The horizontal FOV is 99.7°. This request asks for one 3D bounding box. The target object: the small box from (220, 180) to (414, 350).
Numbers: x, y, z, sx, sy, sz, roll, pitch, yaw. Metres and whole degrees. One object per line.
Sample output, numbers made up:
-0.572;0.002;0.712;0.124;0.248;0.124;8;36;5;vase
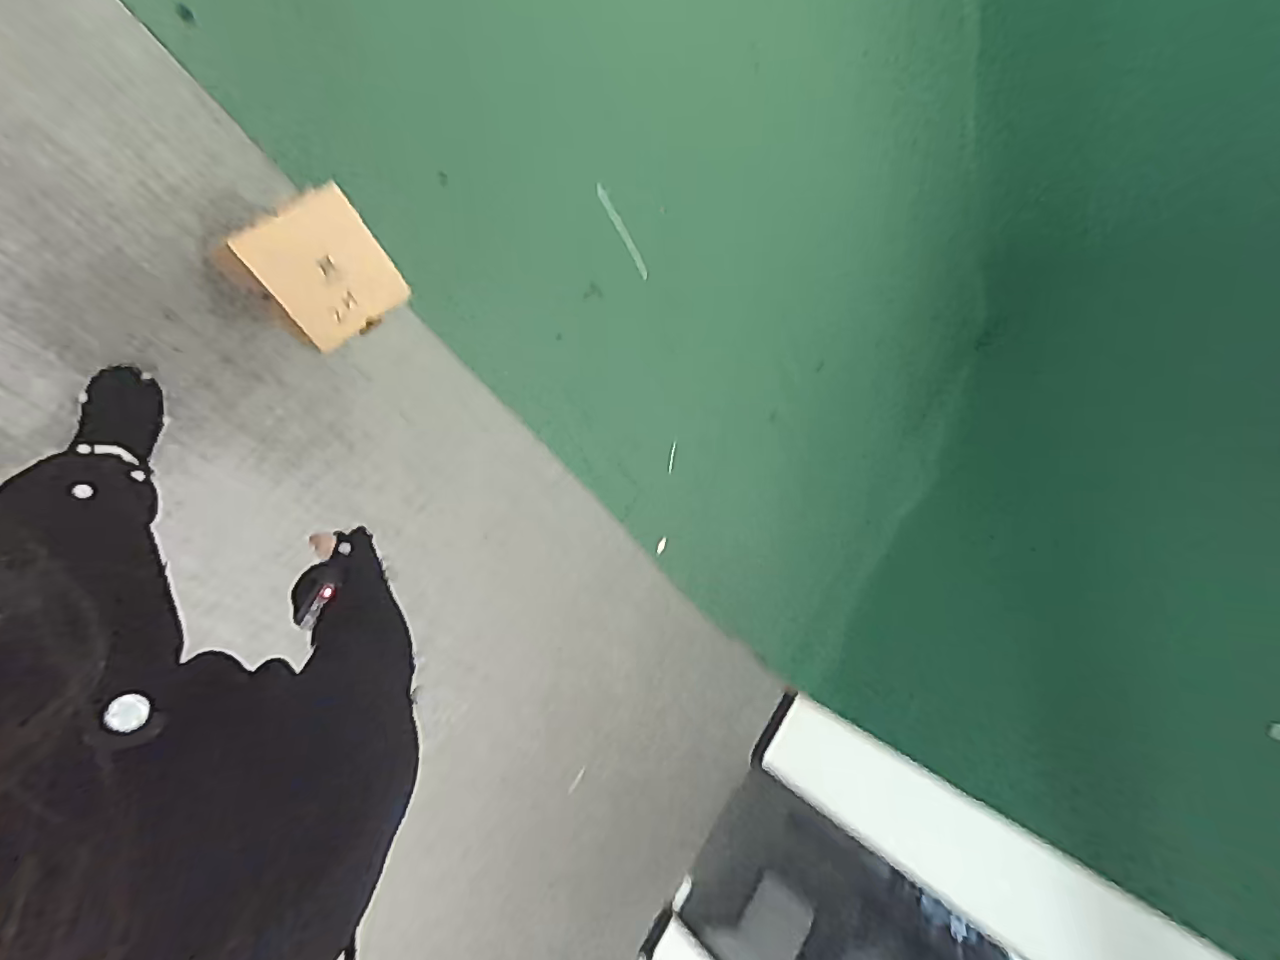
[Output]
-0.489;-0.318;0.818;0.168;0.176;0.179;-46;131;-21;small box
